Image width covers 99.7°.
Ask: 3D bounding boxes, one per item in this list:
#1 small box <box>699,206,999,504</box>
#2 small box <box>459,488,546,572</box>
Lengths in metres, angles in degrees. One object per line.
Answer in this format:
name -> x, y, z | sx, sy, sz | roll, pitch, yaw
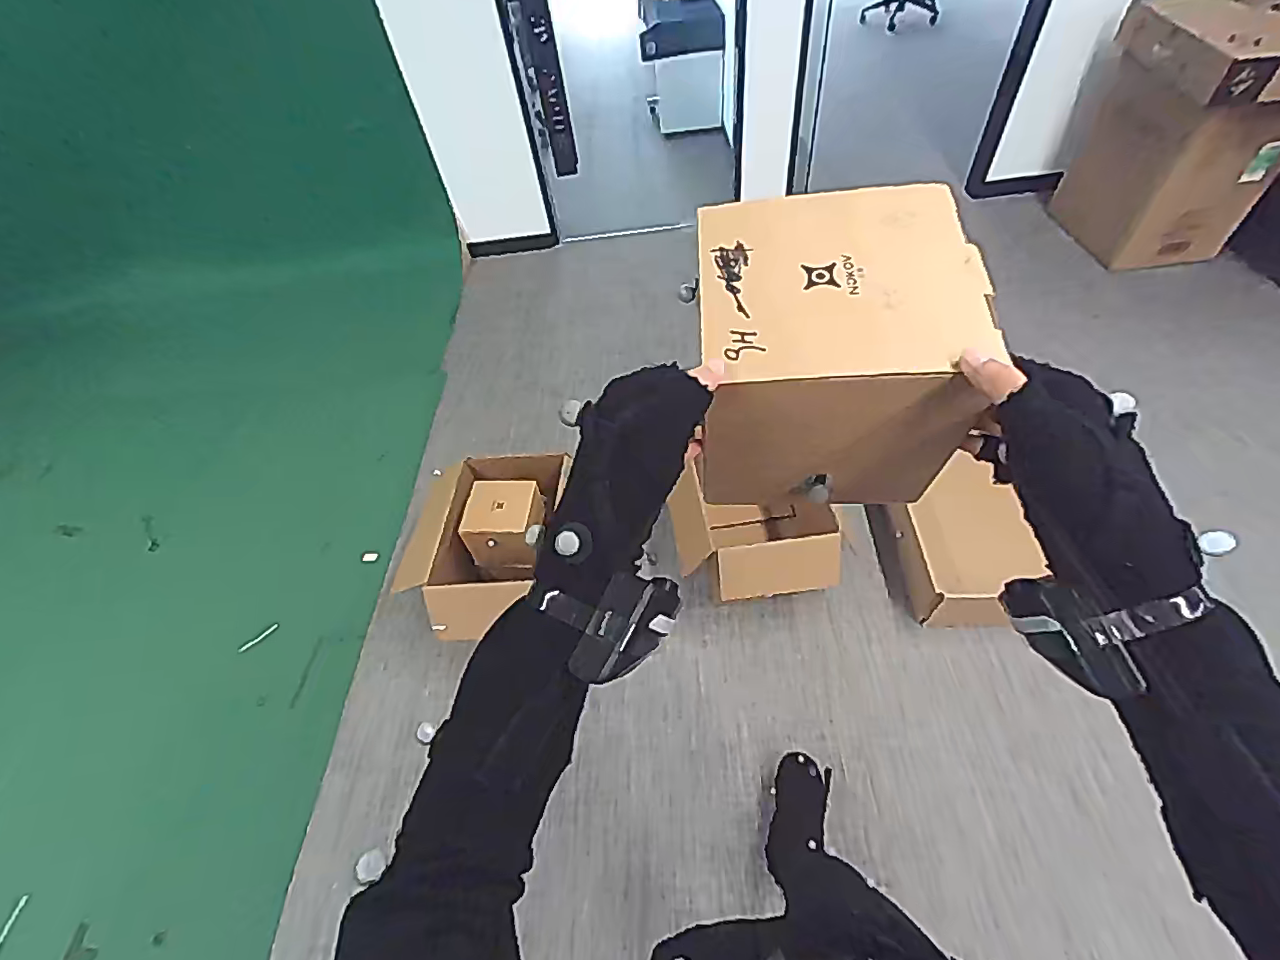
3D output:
small box -> 0.138, -0.089, 0.434 | 0.179, 0.176, 0.168 | 0, 60, 6
small box -> -0.363, 0.138, 1.467 | 0.179, 0.176, 0.168 | 0, 50, 5
